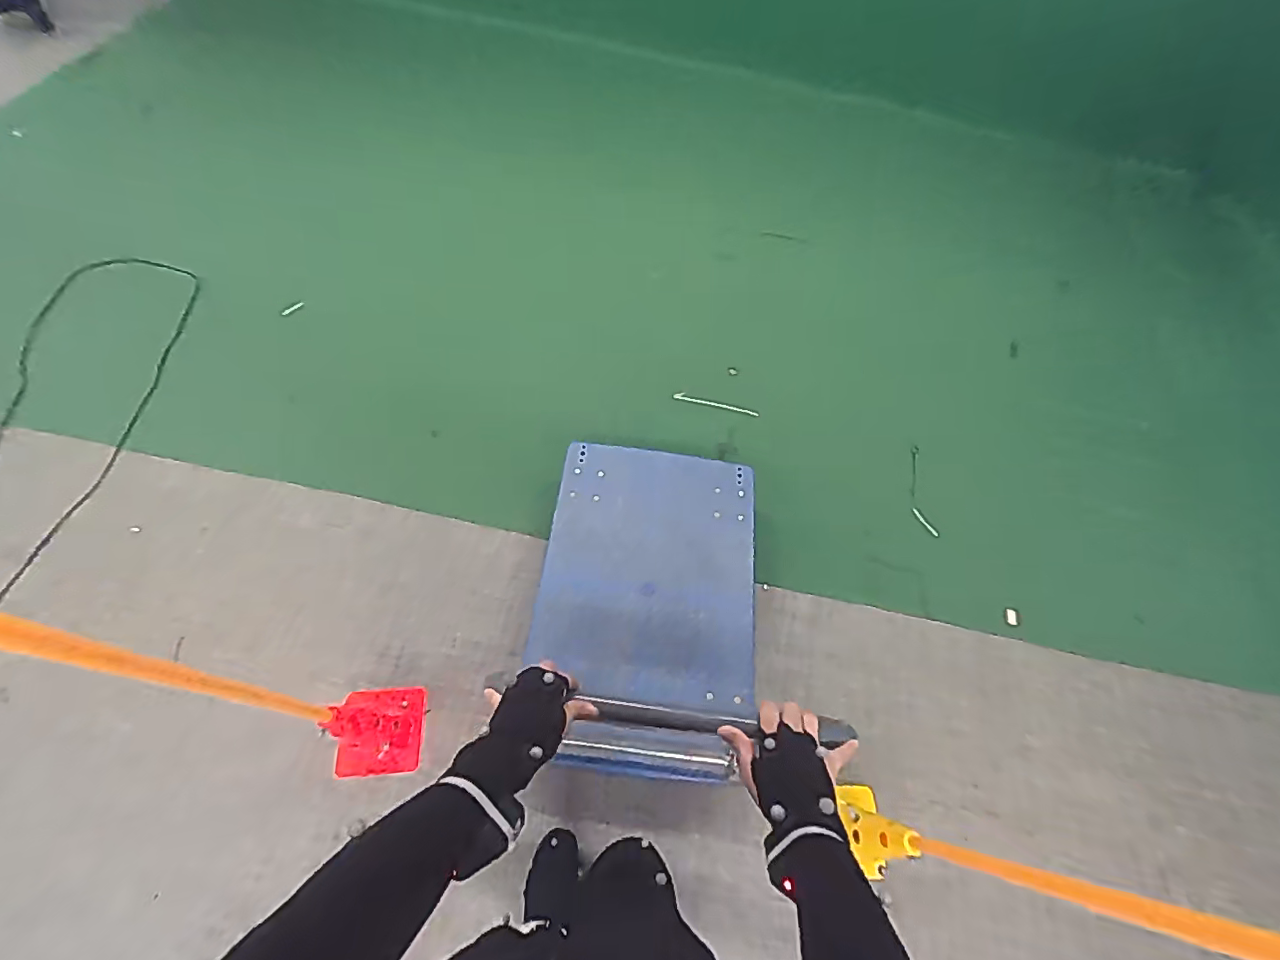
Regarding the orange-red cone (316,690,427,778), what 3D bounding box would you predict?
[{"bbox_3d":[-0.638,0.553,1.219,0.199,0.360,0.198,-1,60,-5],"label":"orange-red cone"}]
